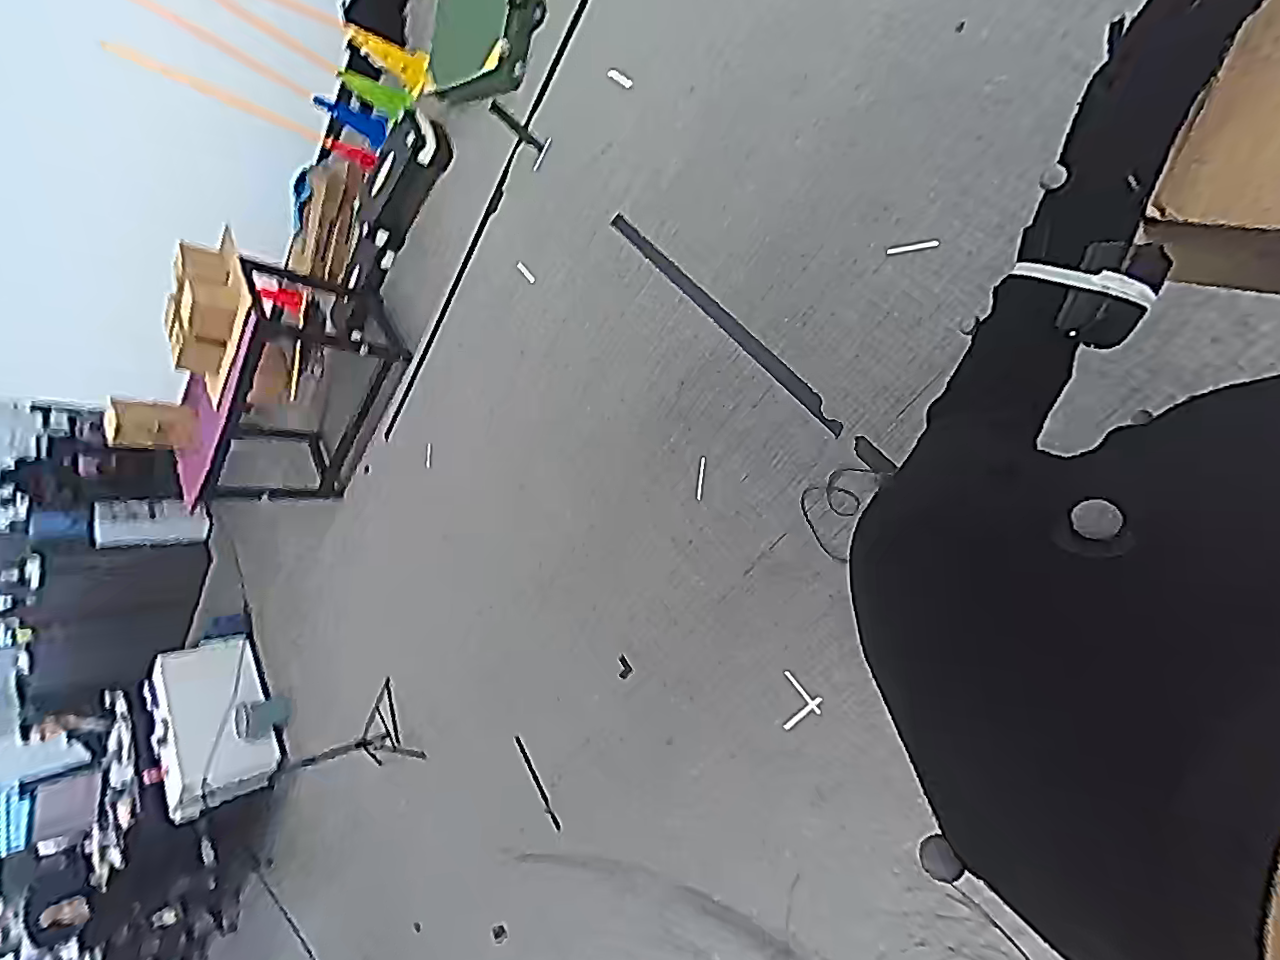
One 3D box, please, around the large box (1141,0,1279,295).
[{"bbox_3d":[0.616,-0.272,0.317,0.408,0.320,0.320,27,116,36],"label":"large box"}]
